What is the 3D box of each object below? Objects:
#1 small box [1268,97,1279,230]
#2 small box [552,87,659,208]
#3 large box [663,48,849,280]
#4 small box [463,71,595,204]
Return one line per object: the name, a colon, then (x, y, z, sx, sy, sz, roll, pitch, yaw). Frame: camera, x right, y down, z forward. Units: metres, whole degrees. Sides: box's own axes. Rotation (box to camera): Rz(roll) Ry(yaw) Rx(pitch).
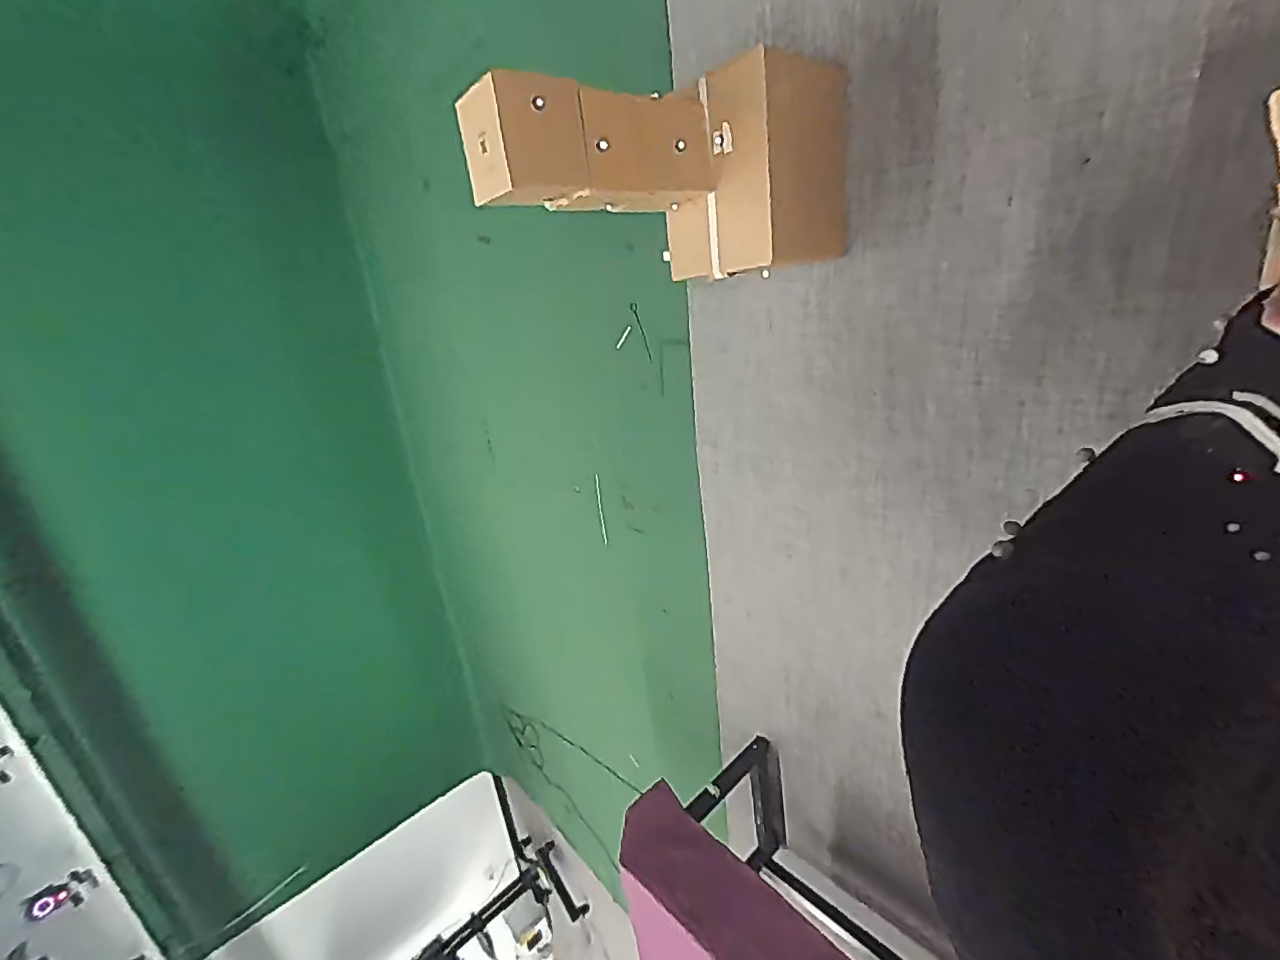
small box: (0.573, -0.220, 0.361, 0.179, 0.176, 0.168, -4, 106, 57)
small box: (-0.080, -0.667, 1.110, 0.168, 0.176, 0.179, 16, 120, 50)
large box: (0.286, -0.719, 1.309, 0.320, 0.320, 0.408, 14, 117, 48)
small box: (-0.203, -0.626, 1.012, 0.168, 0.176, 0.179, 19, 123, 49)
